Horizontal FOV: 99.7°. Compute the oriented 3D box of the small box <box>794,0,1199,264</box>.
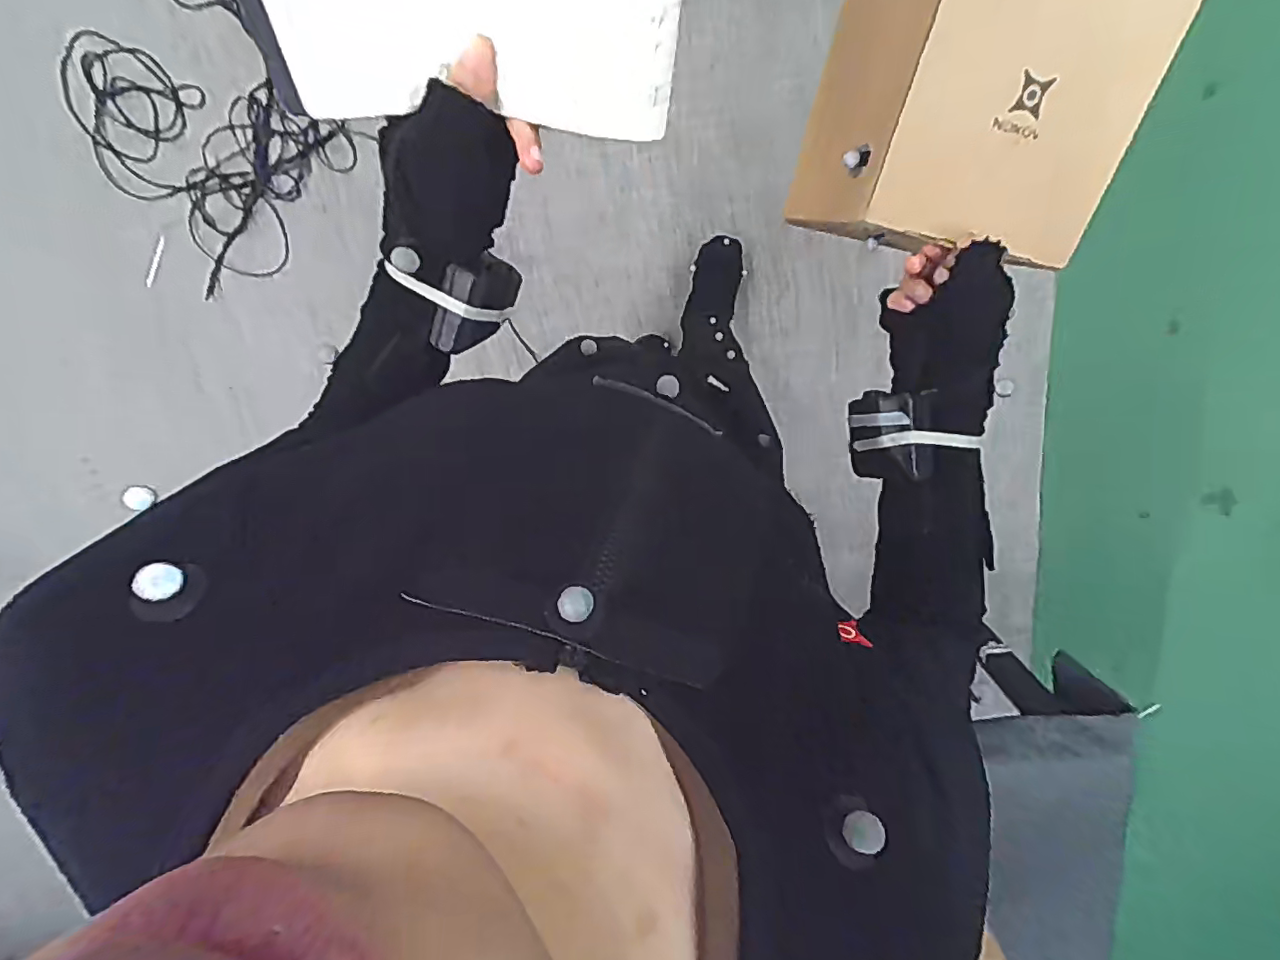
[{"bbox_3d":[0.240,-0.280,0.415,0.168,0.176,0.179,7,115,-11],"label":"small box"}]
